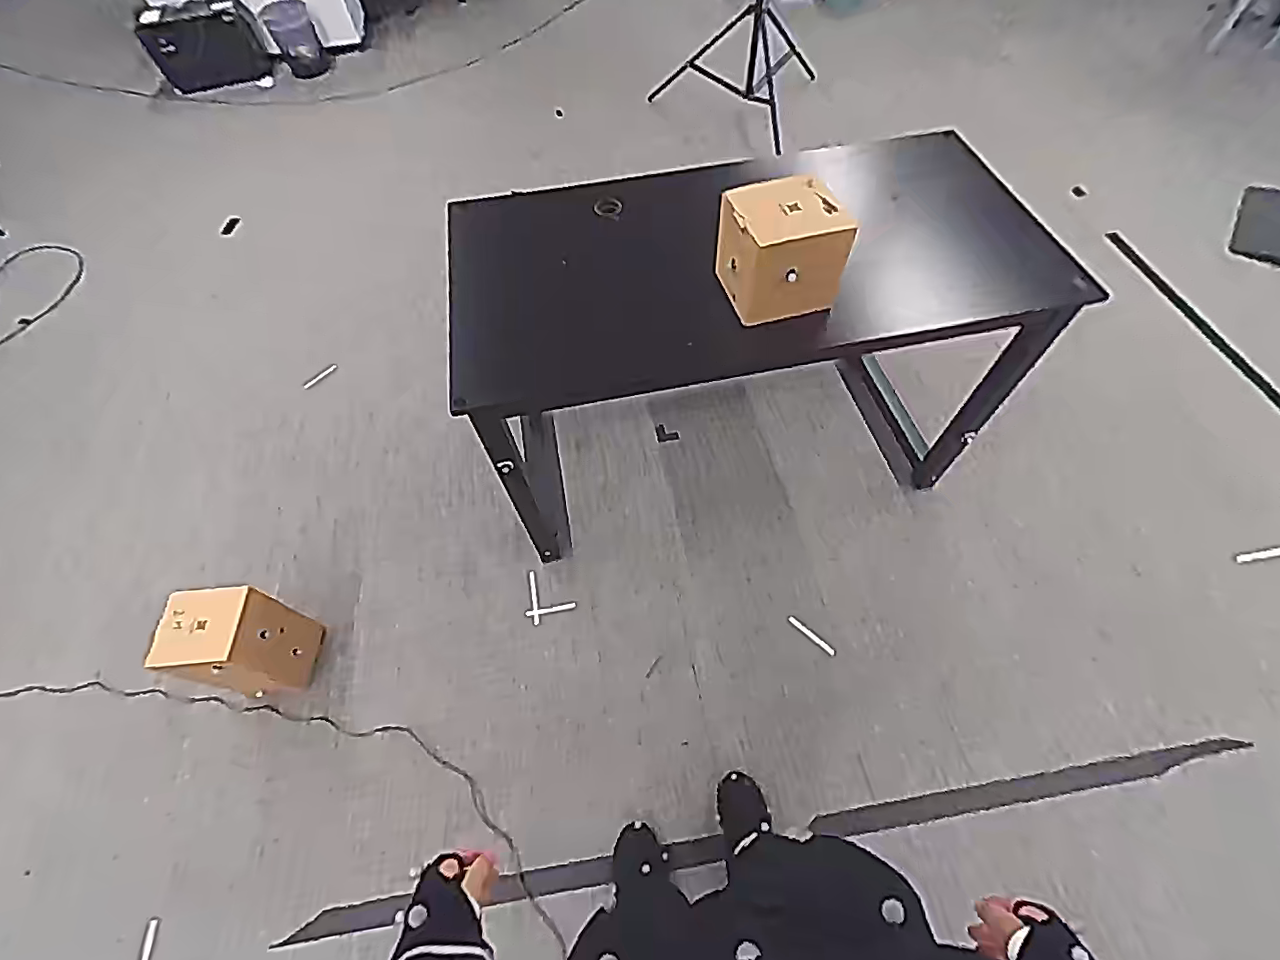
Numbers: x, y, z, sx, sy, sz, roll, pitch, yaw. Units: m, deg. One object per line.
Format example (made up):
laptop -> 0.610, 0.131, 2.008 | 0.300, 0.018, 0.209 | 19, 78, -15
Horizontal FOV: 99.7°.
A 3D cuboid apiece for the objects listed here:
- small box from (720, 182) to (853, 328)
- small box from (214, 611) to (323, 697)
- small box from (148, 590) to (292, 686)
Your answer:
small box -> 0.250, -0.400, 0.978 | 0.179, 0.176, 0.168 | -14, 59, -5
small box -> -0.943, 0.444, 1.374 | 0.168, 0.176, 0.179 | -3, 59, 1
small box -> -0.939, 0.362, 1.231 | 0.179, 0.176, 0.168 | -6, 57, 0
